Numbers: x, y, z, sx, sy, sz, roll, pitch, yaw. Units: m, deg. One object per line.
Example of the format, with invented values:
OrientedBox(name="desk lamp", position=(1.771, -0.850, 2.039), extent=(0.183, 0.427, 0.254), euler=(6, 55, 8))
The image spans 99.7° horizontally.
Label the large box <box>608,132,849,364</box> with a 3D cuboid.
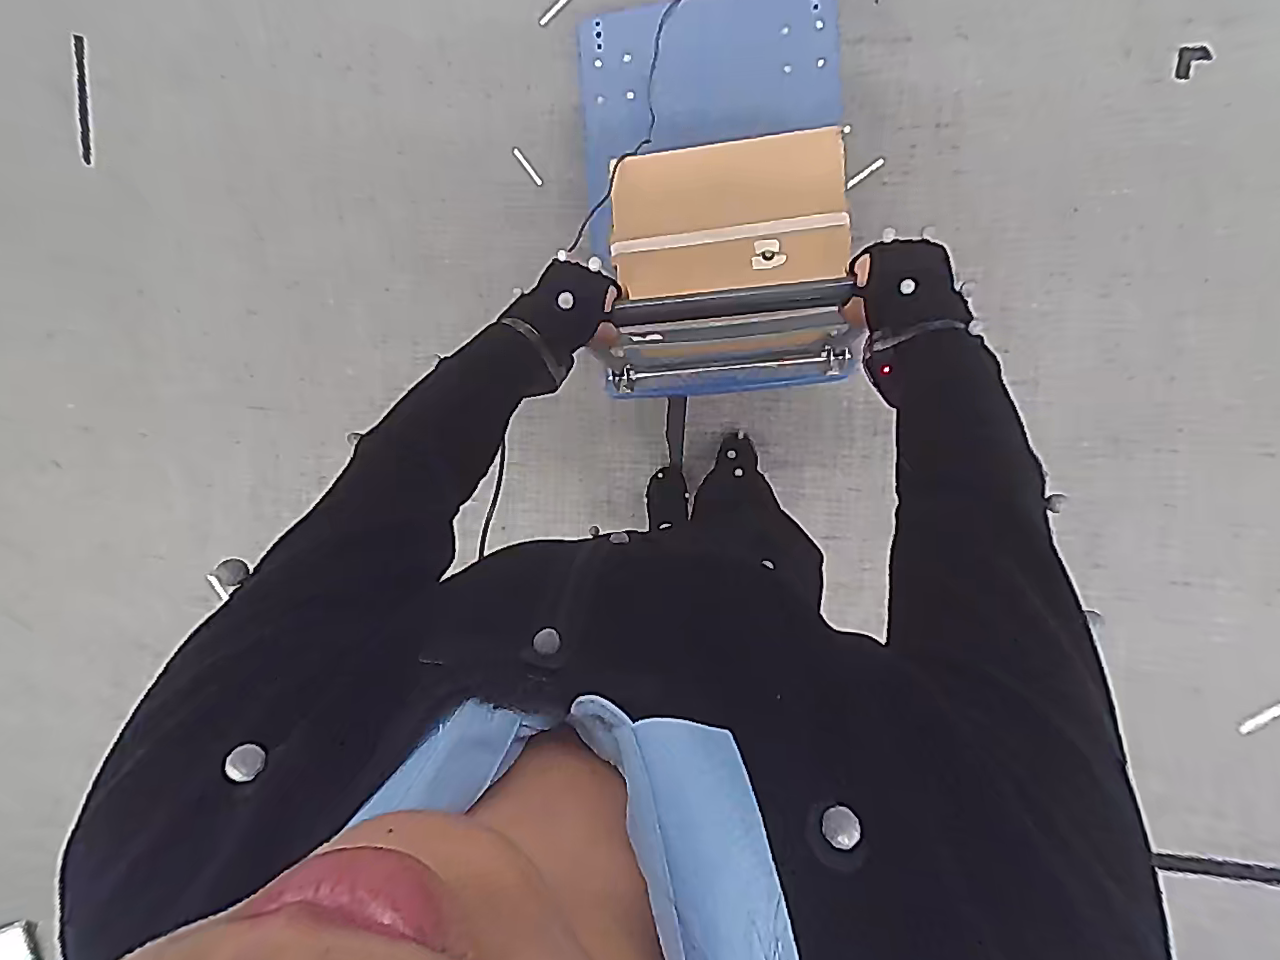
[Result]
OrientedBox(name="large box", position=(0.169, -0.430, 1.095), extent=(0.408, 0.320, 0.320), euler=(-4, 94, 8))
